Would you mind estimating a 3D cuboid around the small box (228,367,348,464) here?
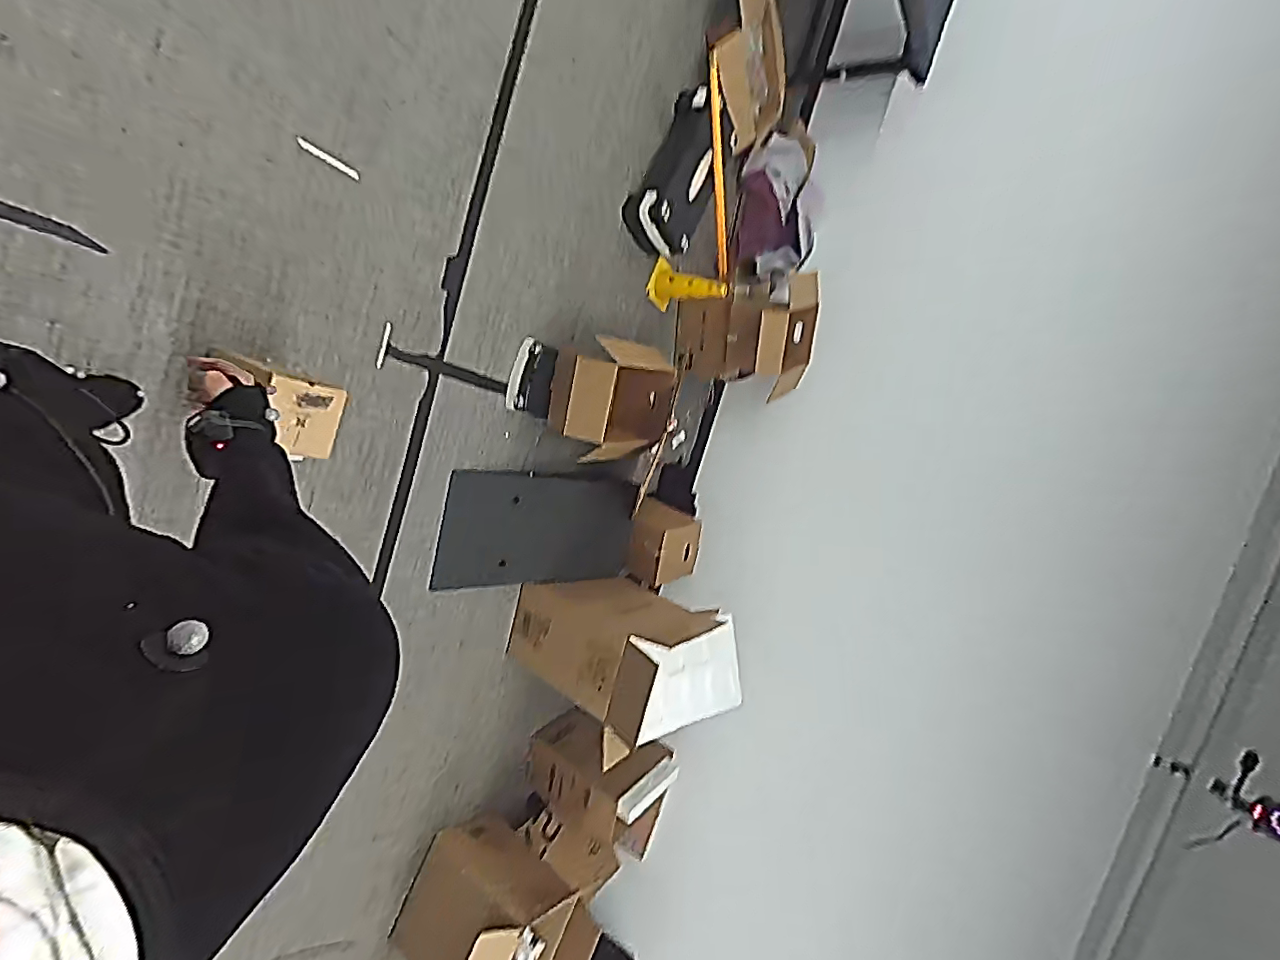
[{"bbox_3d":[-0.829,-0.153,1.270,0.168,0.176,0.179,11,99,-57],"label":"small box"}]
